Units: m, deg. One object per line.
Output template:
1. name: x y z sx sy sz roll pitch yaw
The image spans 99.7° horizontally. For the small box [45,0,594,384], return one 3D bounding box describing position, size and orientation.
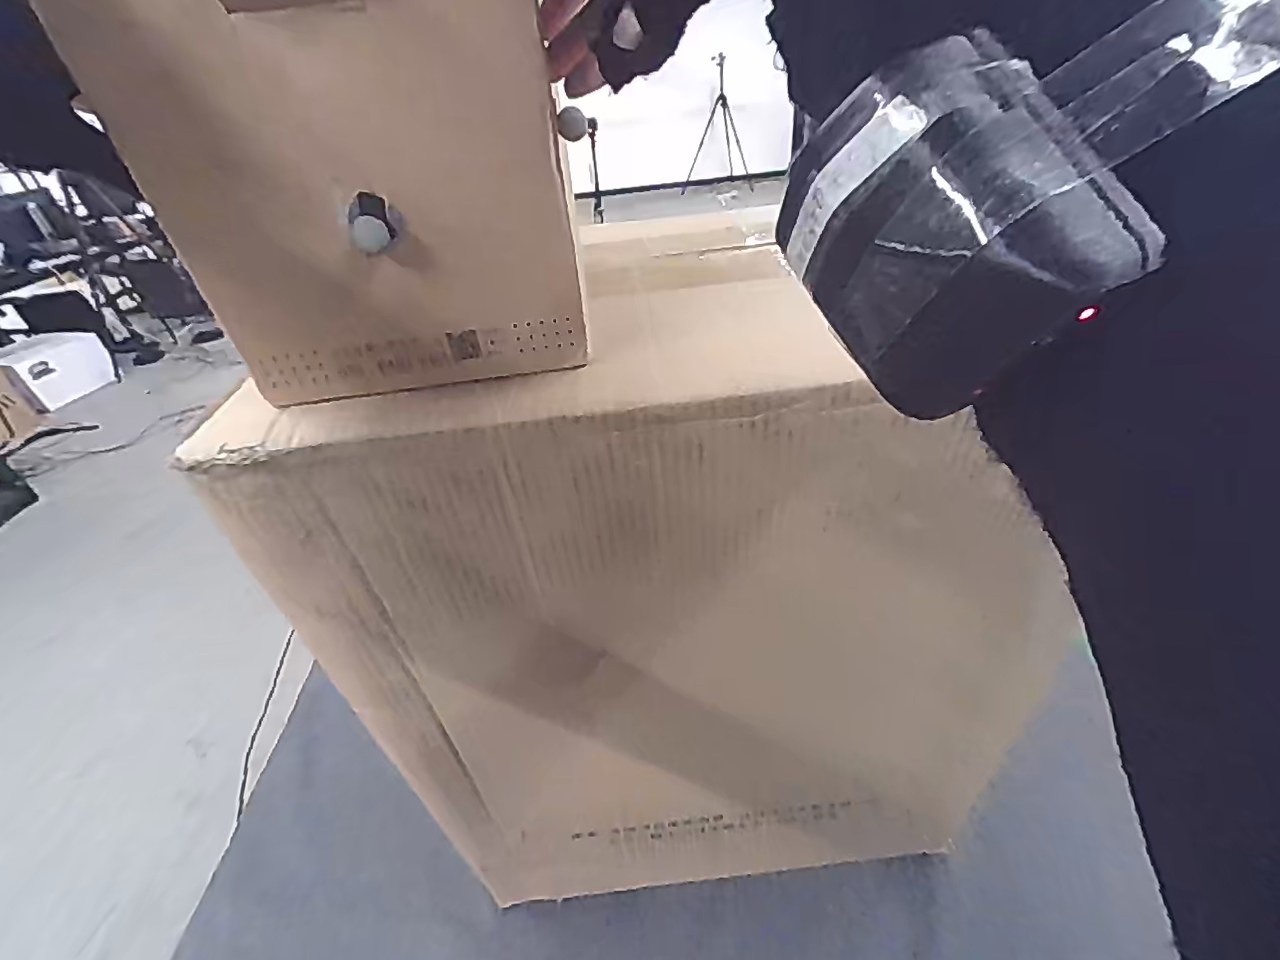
1. small box: -0.118 -0.162 0.293 0.168 0.176 0.179 -7 40 -3
